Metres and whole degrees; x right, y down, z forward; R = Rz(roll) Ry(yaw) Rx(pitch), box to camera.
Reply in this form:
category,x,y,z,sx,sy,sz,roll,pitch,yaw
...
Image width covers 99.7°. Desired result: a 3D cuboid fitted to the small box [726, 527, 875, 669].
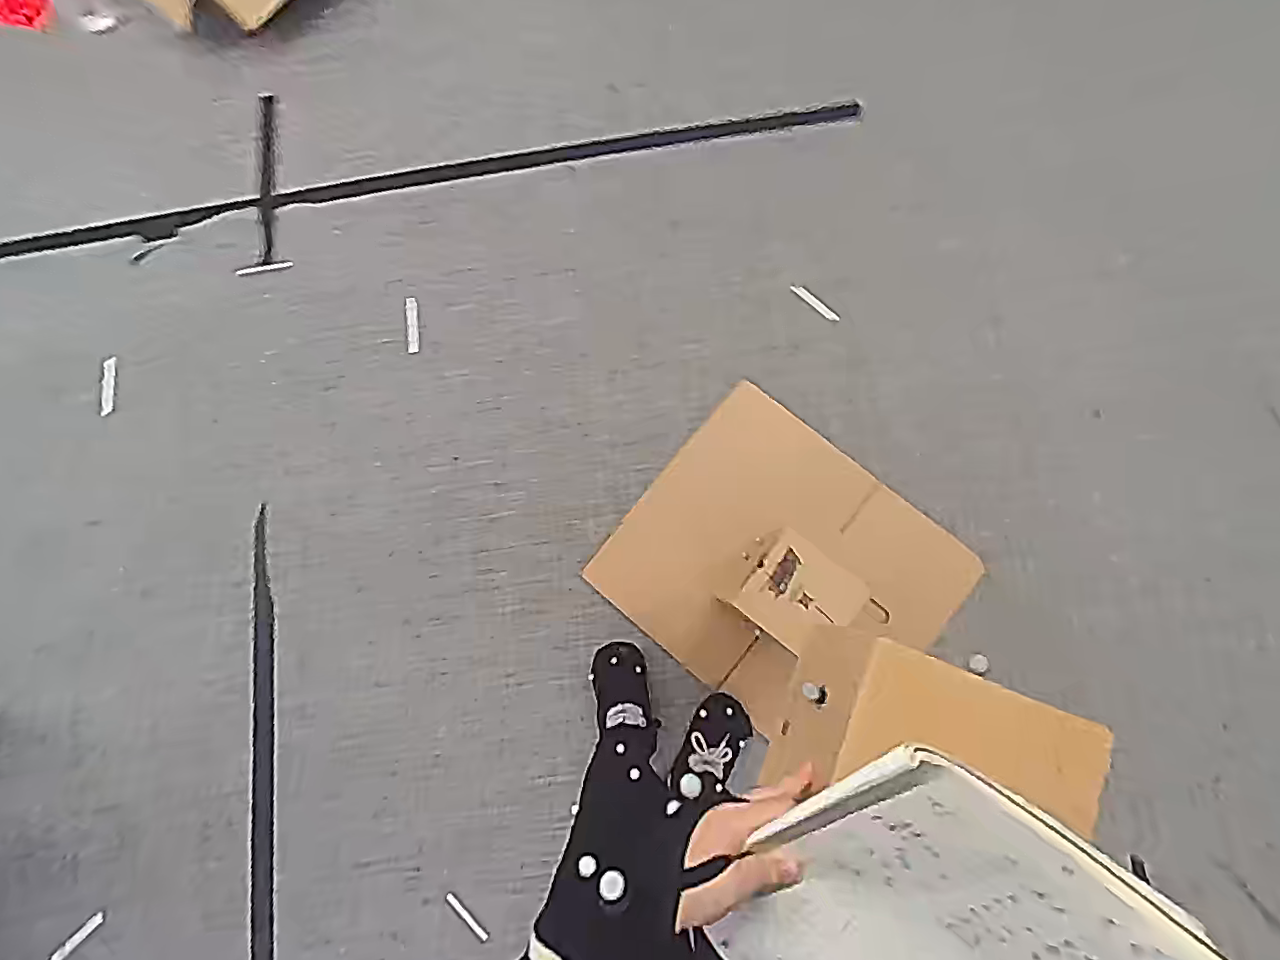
category,x,y,z,sx,sy,sz,roll,pitch,yaw
small box,0.273,0.205,0.968,0.179,0.176,0.168,39,85,7

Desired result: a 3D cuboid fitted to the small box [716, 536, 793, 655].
category,x,y,z,sx,sy,sz,roll,pitch,yaw
small box,0.281,0.232,1.131,0.179,0.176,0.168,38,85,7
